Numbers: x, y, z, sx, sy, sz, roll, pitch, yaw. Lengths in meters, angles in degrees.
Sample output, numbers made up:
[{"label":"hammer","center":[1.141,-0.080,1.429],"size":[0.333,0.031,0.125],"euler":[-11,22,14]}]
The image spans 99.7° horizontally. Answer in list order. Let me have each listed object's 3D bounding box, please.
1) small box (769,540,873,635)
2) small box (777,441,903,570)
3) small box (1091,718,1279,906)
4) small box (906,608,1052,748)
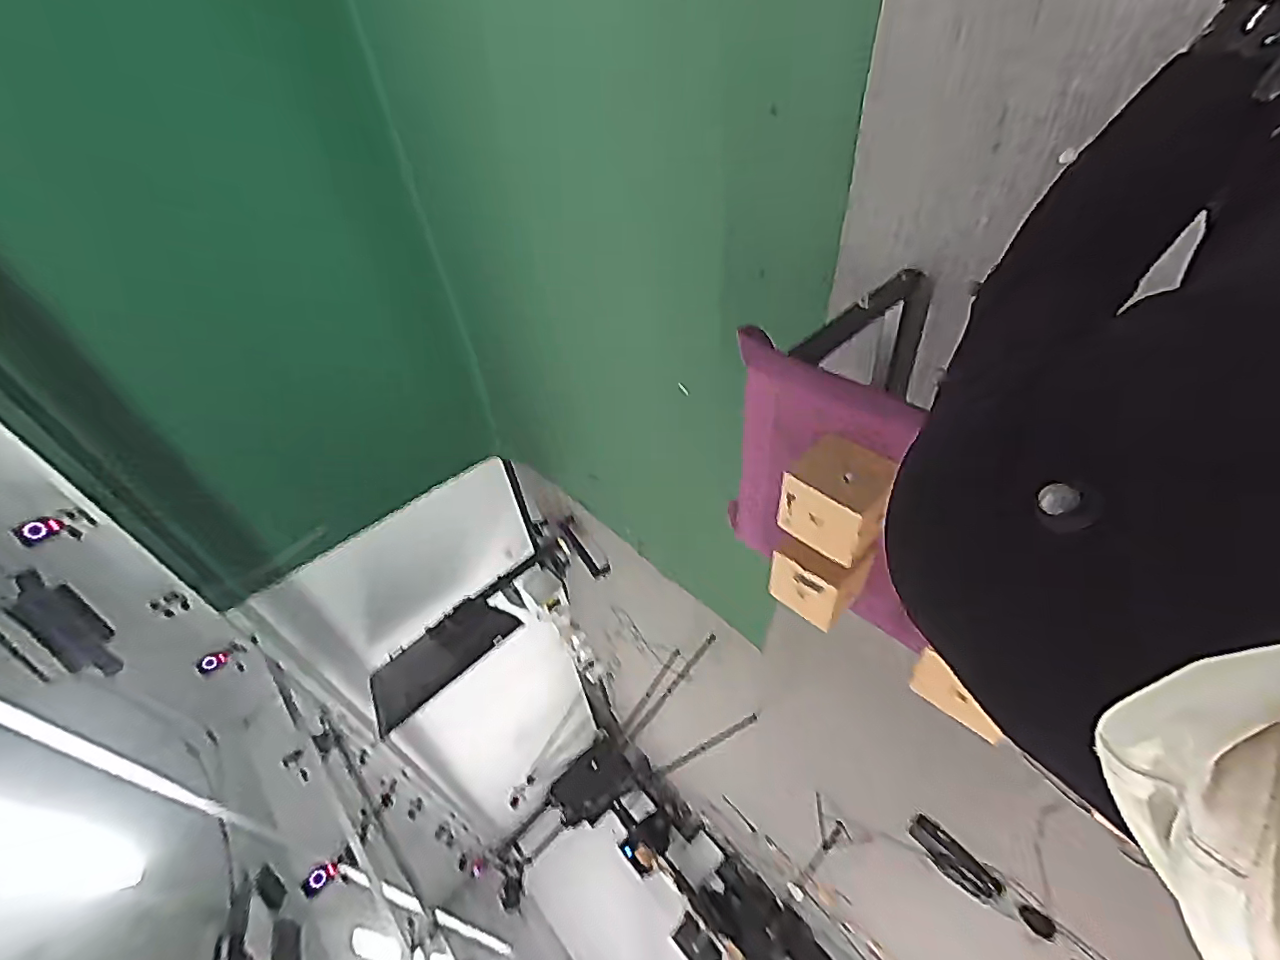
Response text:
[{"label":"small box","center":[0.432,0.226,1.296],"size":[0.168,0.176,0.179],"euler":[34,148,35]},{"label":"small box","center":[0.411,0.046,1.123],"size":[0.179,0.176,0.168],"euler":[34,147,33]},{"label":"small box","center":[0.906,0.538,0.892],"size":[0.179,0.176,0.168],"euler":[31,144,38]},{"label":"small box","center":[0.678,0.387,1.090],"size":[0.179,0.176,0.168],"euler":[32,145,36]}]
